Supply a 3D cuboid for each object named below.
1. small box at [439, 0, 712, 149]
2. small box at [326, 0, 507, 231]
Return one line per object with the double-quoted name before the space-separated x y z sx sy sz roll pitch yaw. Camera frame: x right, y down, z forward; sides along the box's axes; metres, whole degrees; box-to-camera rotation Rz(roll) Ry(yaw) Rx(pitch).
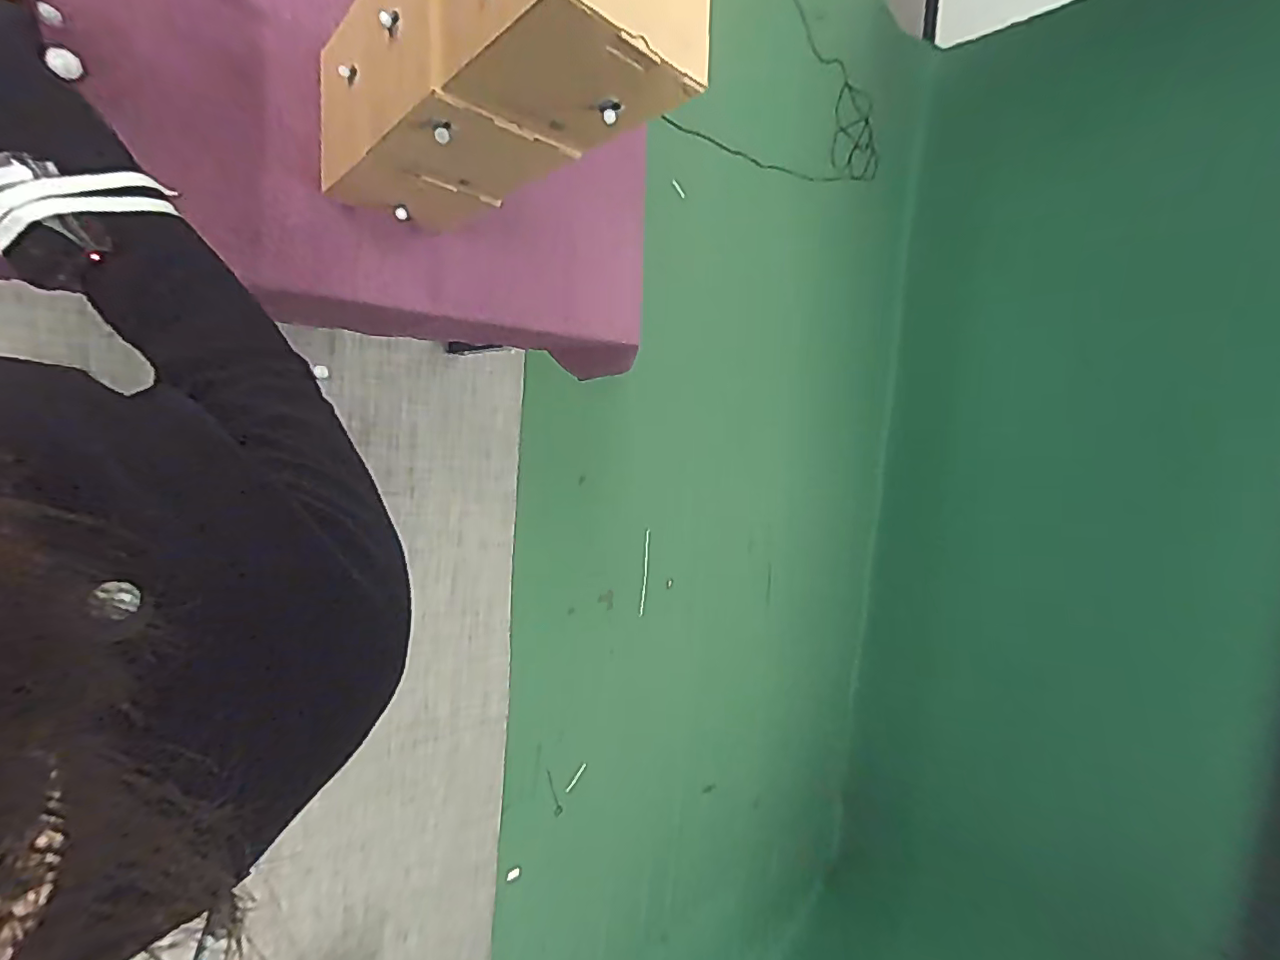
"small box" -0.055 -0.416 0.455 0.168 0.176 0.179 -7 100 -45
"small box" -0.286 -0.443 0.687 0.168 0.176 0.179 -2 98 -44
